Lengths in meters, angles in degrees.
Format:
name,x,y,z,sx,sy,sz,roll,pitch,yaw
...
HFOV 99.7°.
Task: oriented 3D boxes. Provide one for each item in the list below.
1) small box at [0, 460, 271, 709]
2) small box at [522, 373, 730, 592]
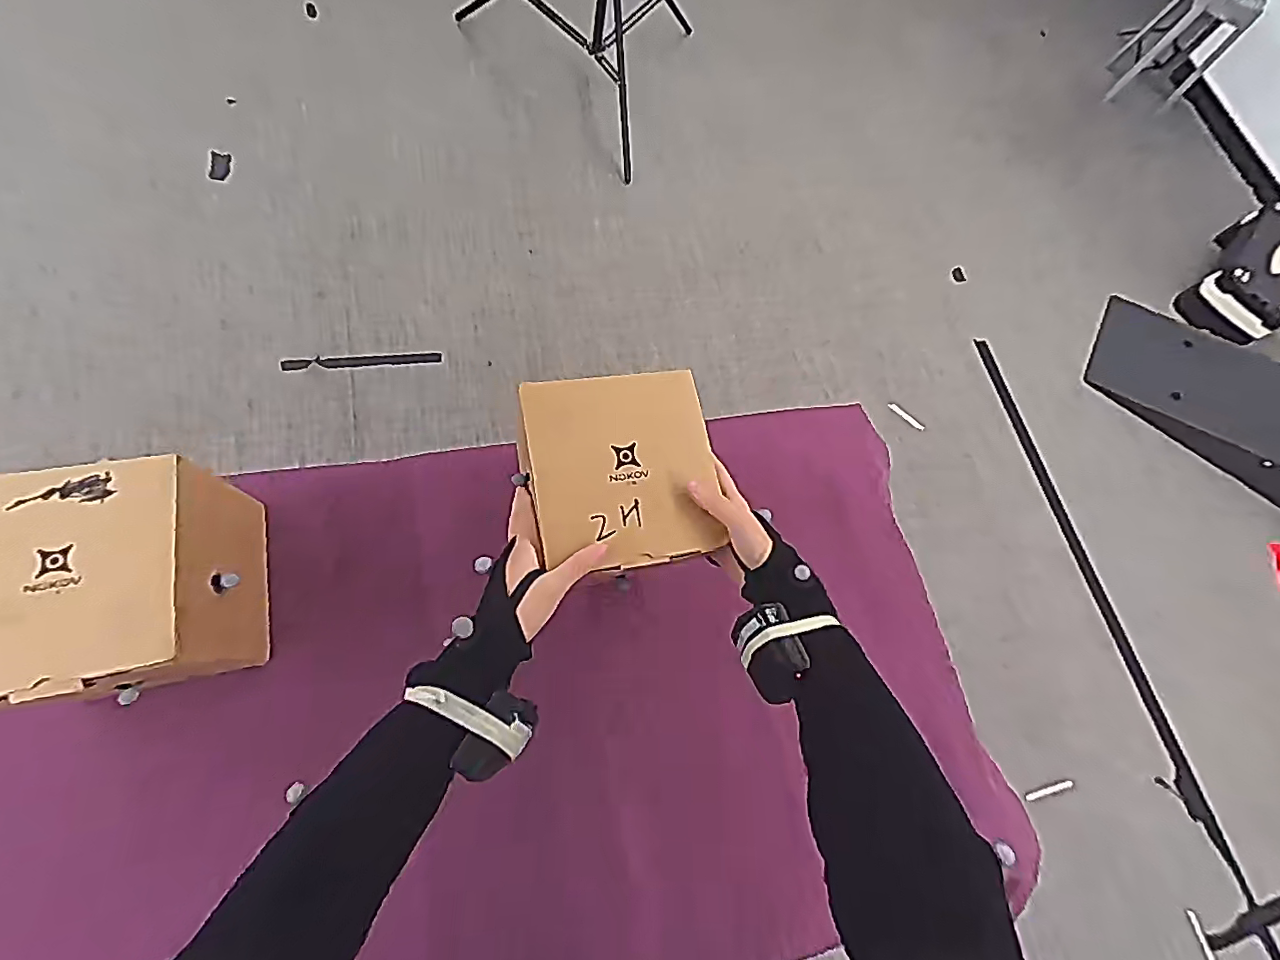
name,x,y,z,sx,sy,sz,roll,pitch,yaw
small box,-0.464,0.098,0.493,0.168,0.176,0.179,-9,74,-15
small box,-0.029,0.010,0.559,0.168,0.176,0.179,-8,76,-14
